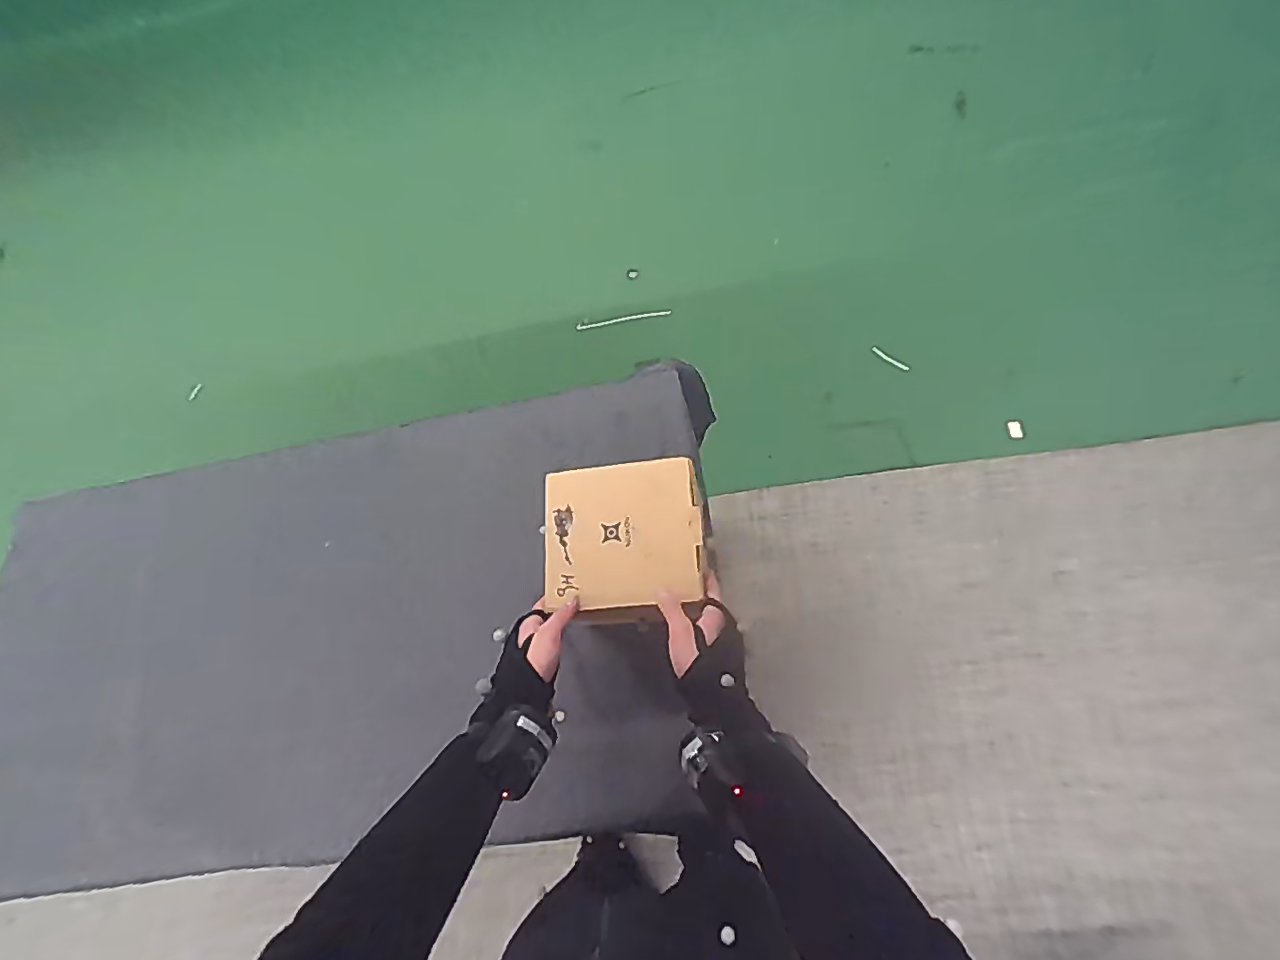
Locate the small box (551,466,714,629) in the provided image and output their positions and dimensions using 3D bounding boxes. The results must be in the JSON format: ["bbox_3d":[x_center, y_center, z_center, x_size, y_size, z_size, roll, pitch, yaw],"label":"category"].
[{"bbox_3d":[-0.002,0.092,0.671,0.179,0.176,0.168,-6,70,7],"label":"small box"}]
